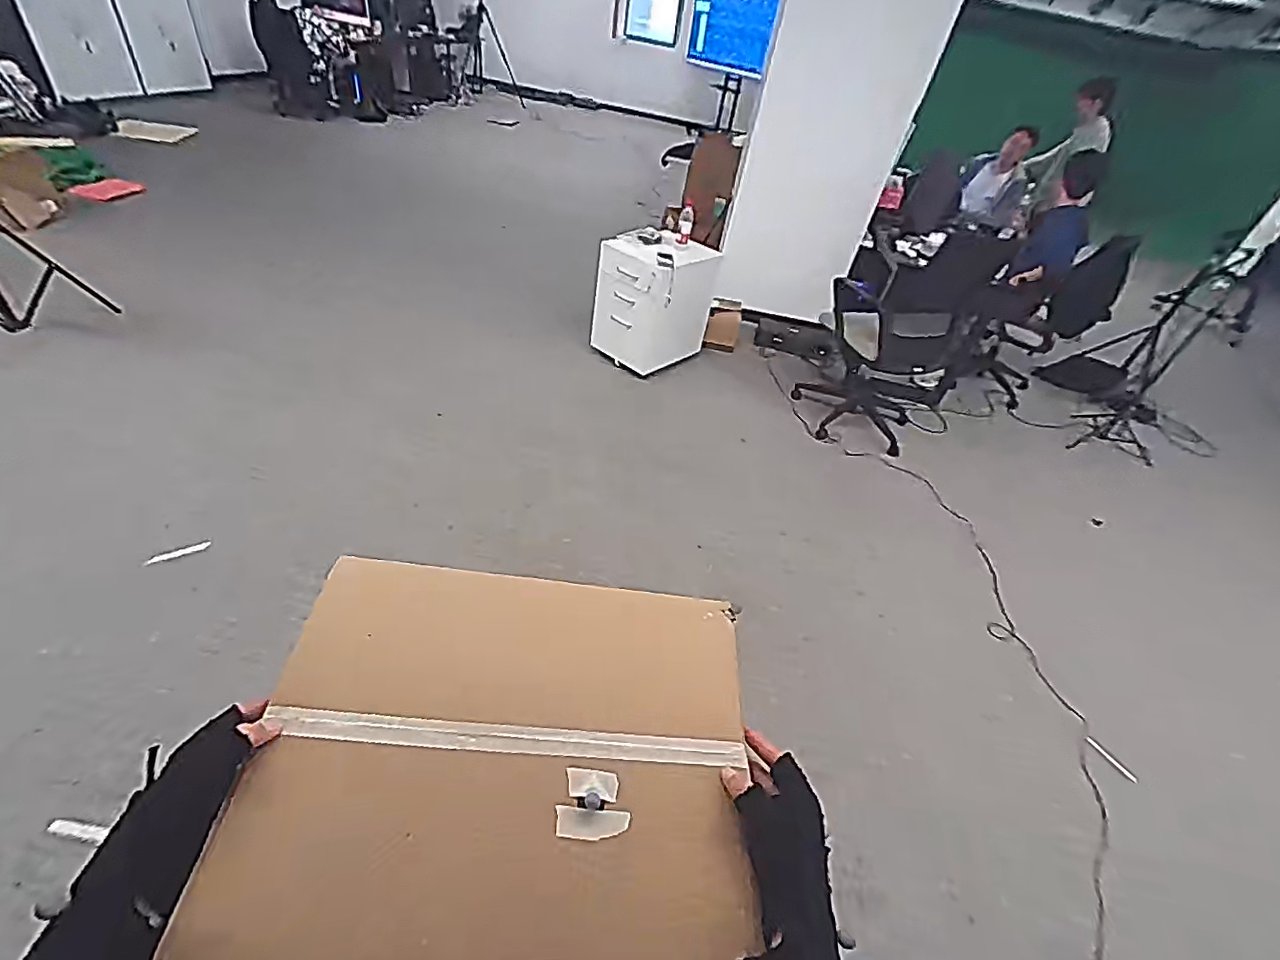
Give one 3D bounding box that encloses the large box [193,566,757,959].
[{"bbox_3d":[-0.133,0.323,0.590,0.408,0.320,0.320,8,49,-8],"label":"large box"}]
